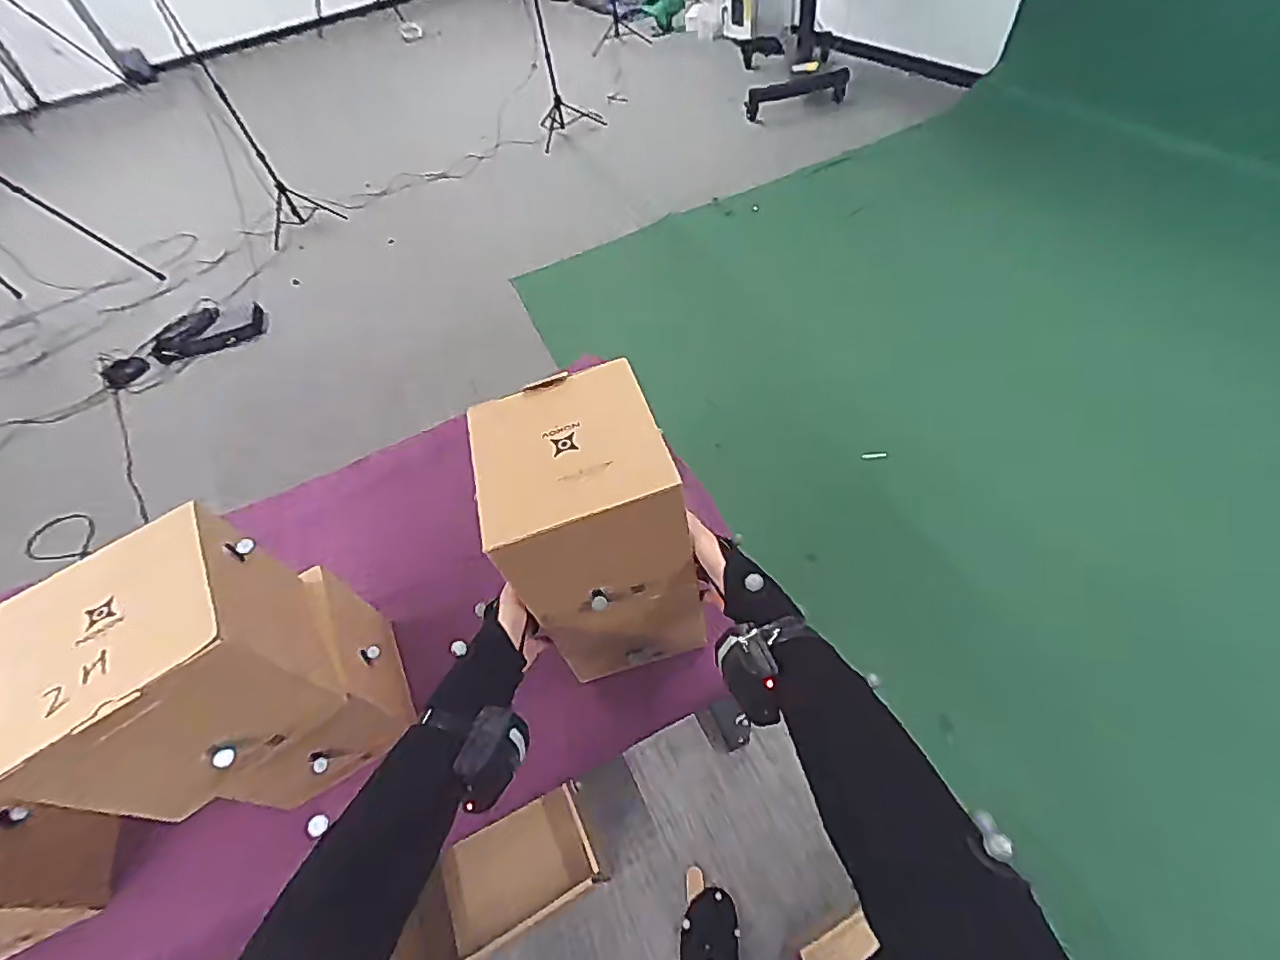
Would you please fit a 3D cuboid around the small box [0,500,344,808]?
[{"bbox_3d":[-0.408,0.158,0.488,0.168,0.176,0.179,-34,54,-16],"label":"small box"}]

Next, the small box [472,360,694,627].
[{"bbox_3d":[-0.053,0.016,0.537,0.168,0.176,0.179,-18,51,-3],"label":"small box"}]

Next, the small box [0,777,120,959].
[{"bbox_3d":[-0.705,0.393,0.568,0.168,0.176,0.179,-24,53,-10],"label":"small box"}]

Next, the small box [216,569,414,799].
[{"bbox_3d":[-0.390,0.243,0.631,0.168,0.176,0.179,-28,52,-13],"label":"small box"}]

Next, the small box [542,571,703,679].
[{"bbox_3d":[-0.026,0.116,0.663,0.168,0.176,0.179,-16,51,-2],"label":"small box"}]
